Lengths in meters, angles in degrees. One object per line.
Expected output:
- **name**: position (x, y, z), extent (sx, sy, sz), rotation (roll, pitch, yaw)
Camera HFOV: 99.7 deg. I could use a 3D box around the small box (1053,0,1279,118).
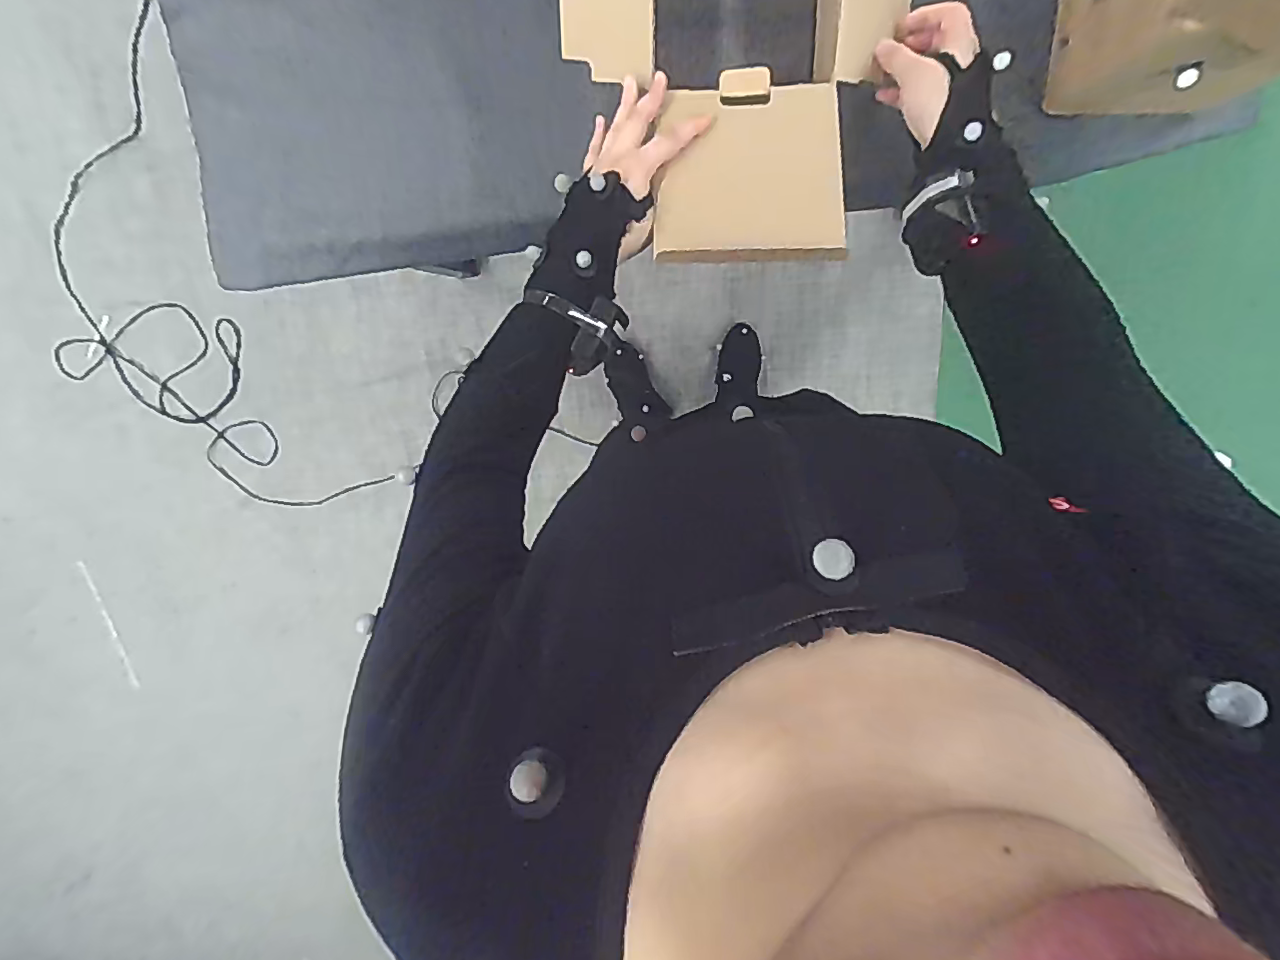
- **small box**: position (0.538, -0.463, 0.506), extent (0.179, 0.176, 0.168), rotation (1, 104, 3)
